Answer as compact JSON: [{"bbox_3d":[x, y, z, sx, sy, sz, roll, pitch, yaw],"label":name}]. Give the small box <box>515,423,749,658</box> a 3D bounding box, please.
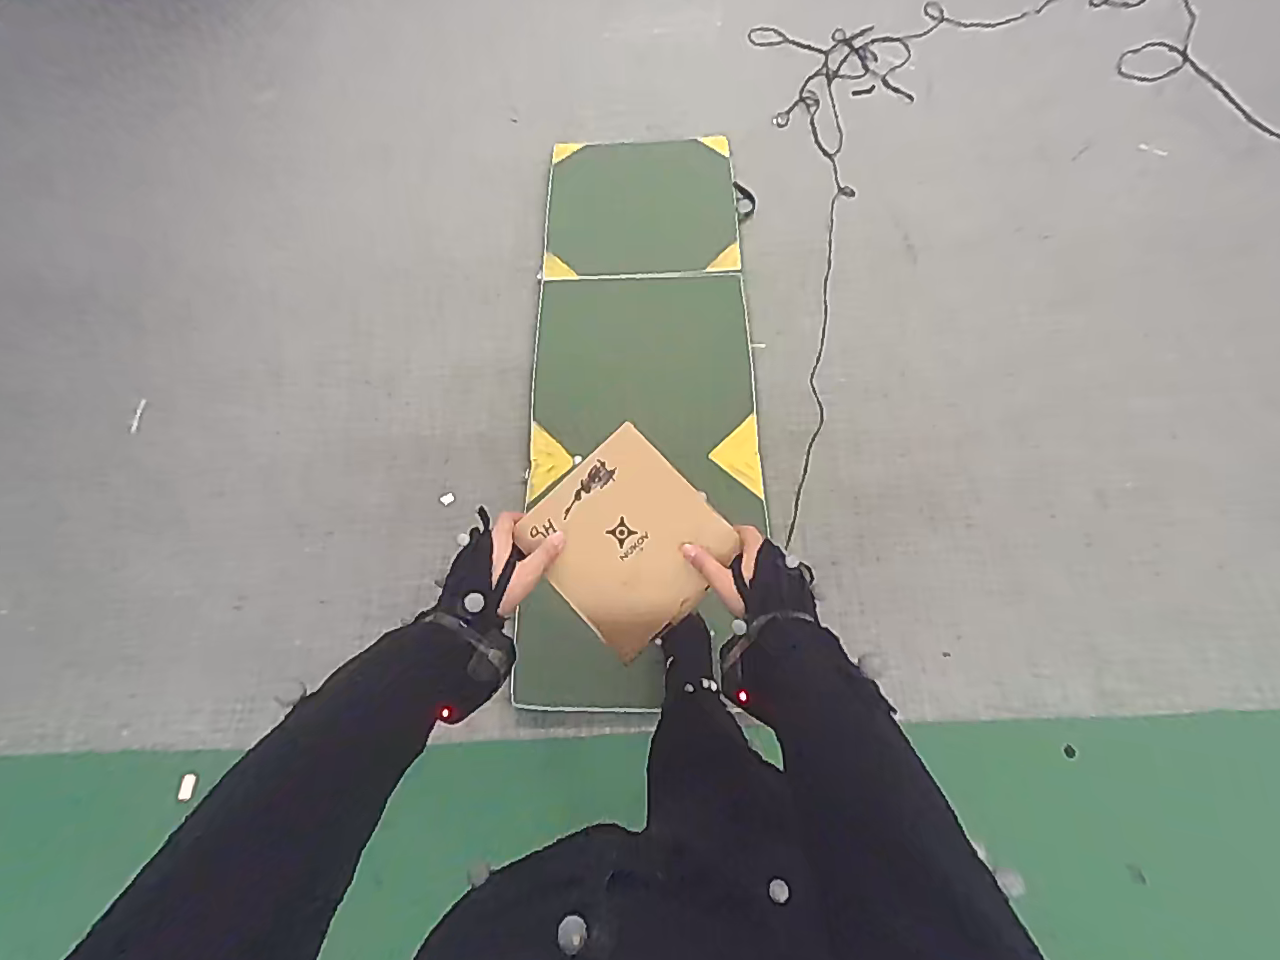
[{"bbox_3d":[-0.005,0.067,0.610,0.168,0.176,0.179,-43,81,-4],"label":"small box"}]
